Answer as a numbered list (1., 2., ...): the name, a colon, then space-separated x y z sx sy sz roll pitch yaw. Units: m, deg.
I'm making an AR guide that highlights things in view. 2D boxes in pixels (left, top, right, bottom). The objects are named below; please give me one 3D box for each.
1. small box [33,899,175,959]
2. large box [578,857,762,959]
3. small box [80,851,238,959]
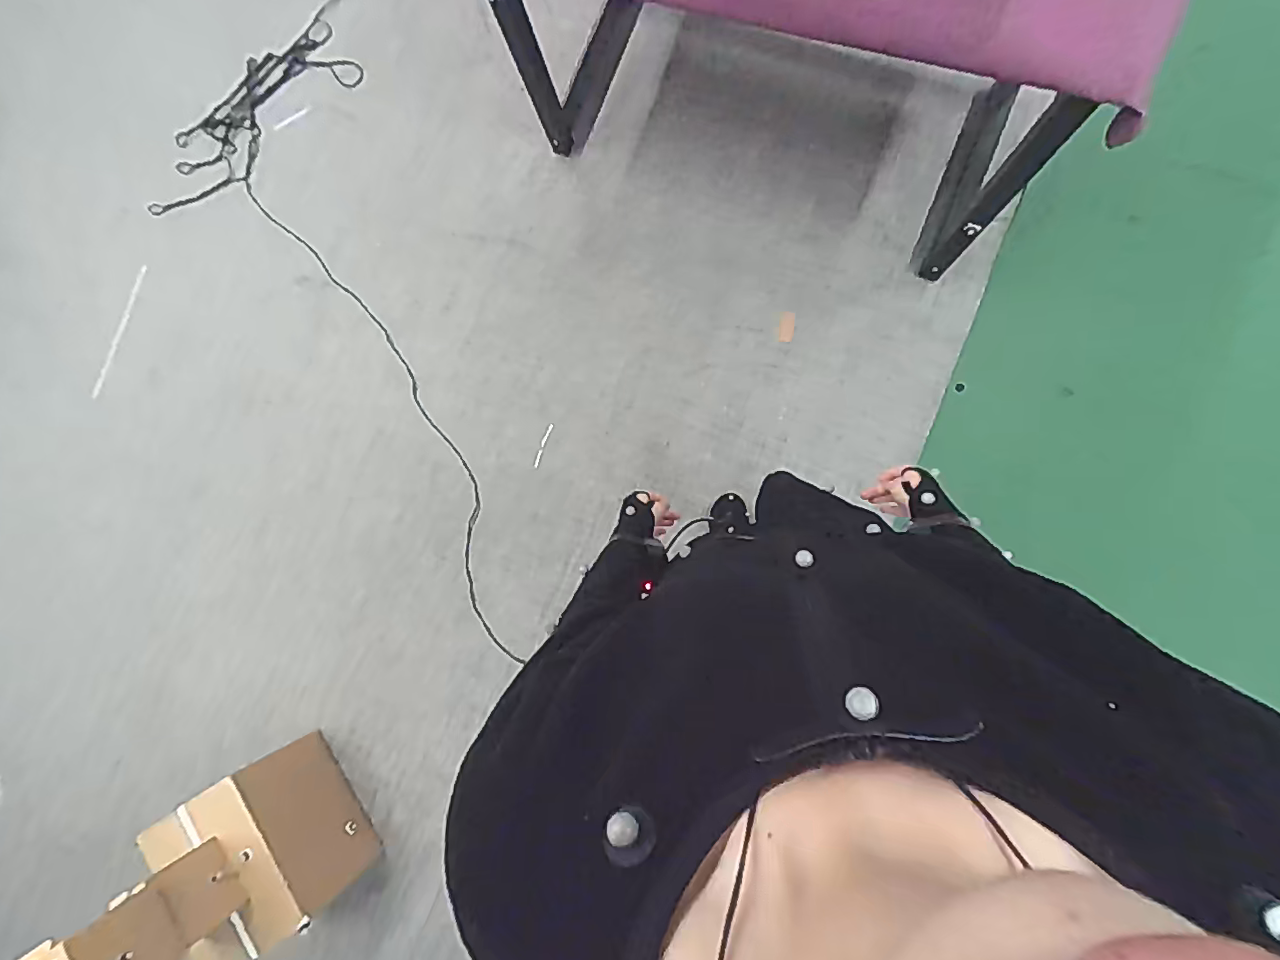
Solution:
1. small box: -1.066 0.962 1.041 0.168 0.176 0.179 -35 84 4
2. large box: 0.062 1.185 1.300 0.408 0.320 0.320 7 88 6
3. small box: -1.063 0.976 1.206 0.168 0.176 0.179 -39 82 4
